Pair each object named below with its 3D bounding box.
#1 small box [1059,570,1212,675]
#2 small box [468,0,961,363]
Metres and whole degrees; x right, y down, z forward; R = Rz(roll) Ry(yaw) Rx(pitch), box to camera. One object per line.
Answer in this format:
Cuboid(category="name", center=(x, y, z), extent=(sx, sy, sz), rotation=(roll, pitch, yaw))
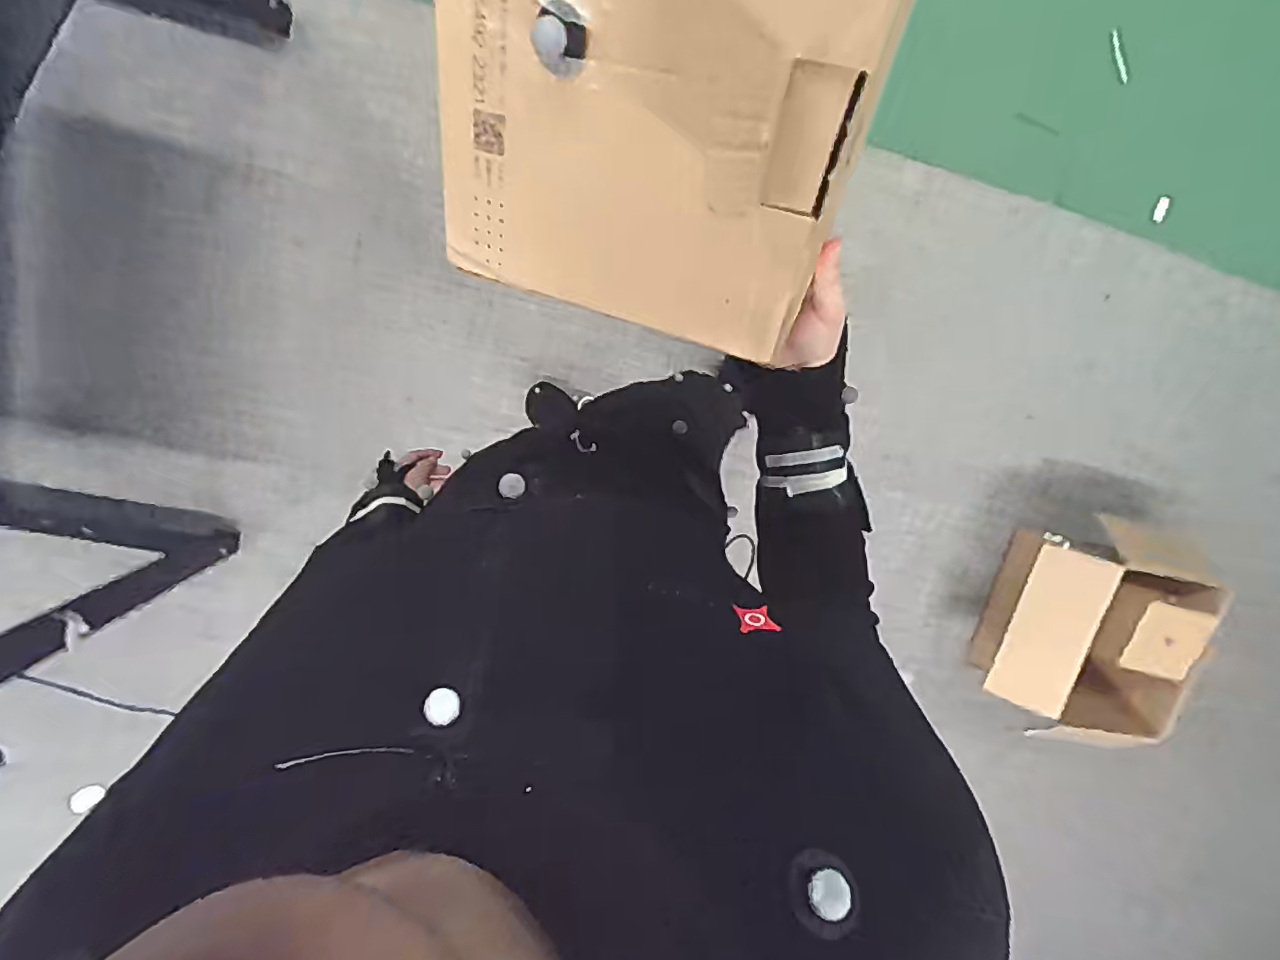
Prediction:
Cuboid(category="small box", center=(1.171, 0.333, 1.293), extent=(0.179, 0.176, 0.168), rotation=(15, 102, -6))
Cuboid(category="small box", center=(0.037, -0.185, 0.267), extent=(0.176, 0.179, 0.168), rotation=(20, 127, 9))
